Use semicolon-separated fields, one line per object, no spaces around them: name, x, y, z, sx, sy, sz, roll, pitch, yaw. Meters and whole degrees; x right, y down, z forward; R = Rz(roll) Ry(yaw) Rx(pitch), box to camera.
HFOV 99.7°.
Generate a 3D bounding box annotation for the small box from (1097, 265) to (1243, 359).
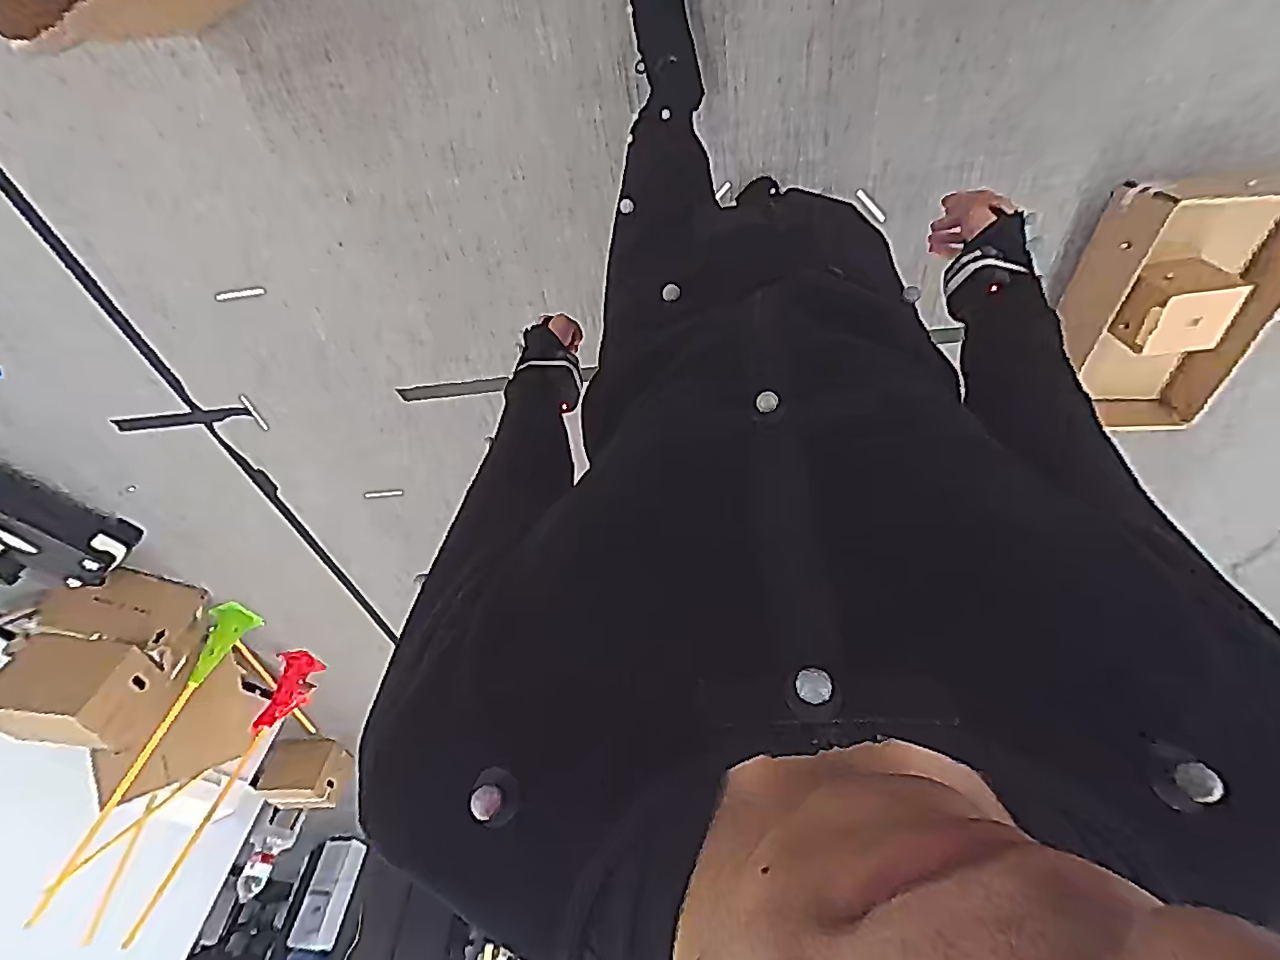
small box;1.325;-0.428;1.372;0.179;0.176;0.168;-5;133;6
